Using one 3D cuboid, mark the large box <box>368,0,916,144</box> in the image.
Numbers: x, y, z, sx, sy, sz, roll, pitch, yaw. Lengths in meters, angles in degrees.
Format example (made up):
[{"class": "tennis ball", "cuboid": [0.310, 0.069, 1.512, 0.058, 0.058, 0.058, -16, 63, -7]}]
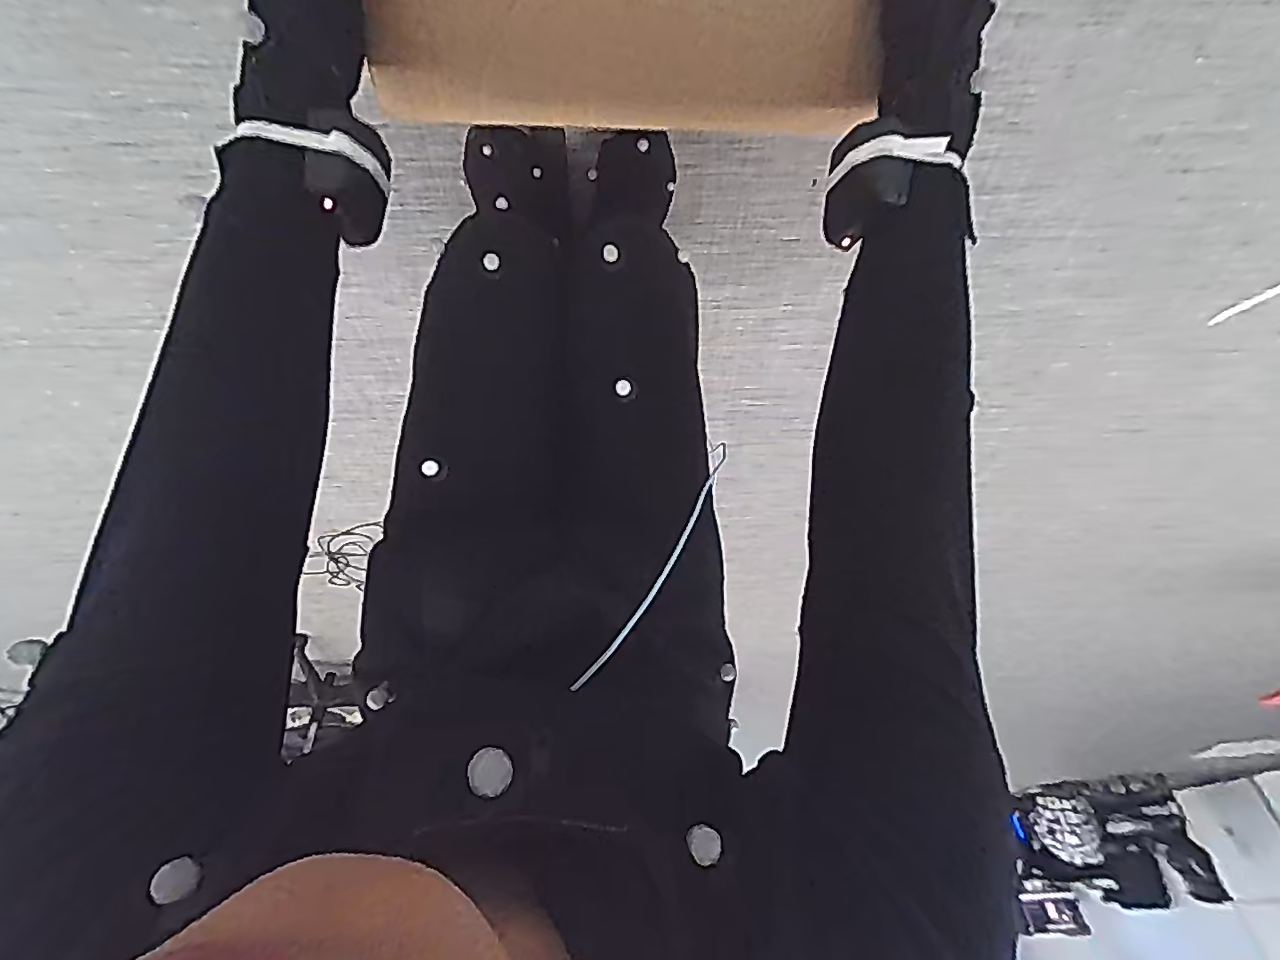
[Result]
[{"class": "large box", "cuboid": [0.002, -0.497, 0.446, 0.408, 0.320, 0.320, 1, 137, -1]}]
